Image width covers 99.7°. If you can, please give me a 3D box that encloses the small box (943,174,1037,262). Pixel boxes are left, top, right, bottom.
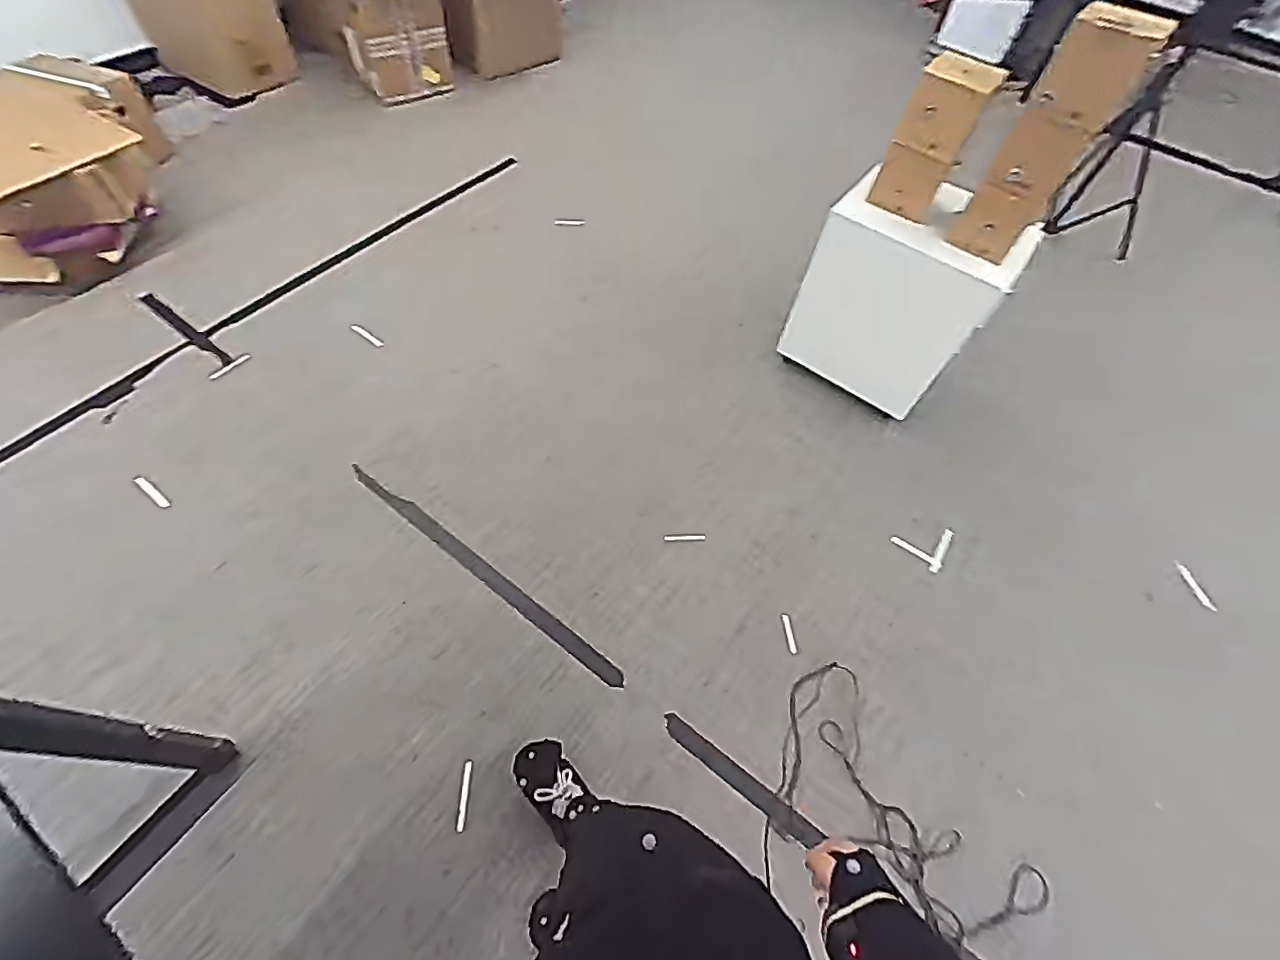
[{"bbox_3d":[0.954,-0.722,1.457,0.168,0.176,0.179,34,62,17],"label":"small box"}]

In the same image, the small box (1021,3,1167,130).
[{"bbox_3d":[0.982,-0.901,1.184,0.168,0.176,0.179,36,60,18],"label":"small box"}]

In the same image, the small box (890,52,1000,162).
[{"bbox_3d":[0.777,-0.957,1.394,0.168,0.176,0.179,33,60,14],"label":"small box"}]

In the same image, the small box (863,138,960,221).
[{"bbox_3d":[0.764,-0.874,1.534,0.168,0.176,0.179,32,61,14],"label":"small box"}]

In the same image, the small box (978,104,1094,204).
[{"bbox_3d":[0.971,-0.815,1.323,0.168,0.176,0.179,34,62,17],"label":"small box"}]
